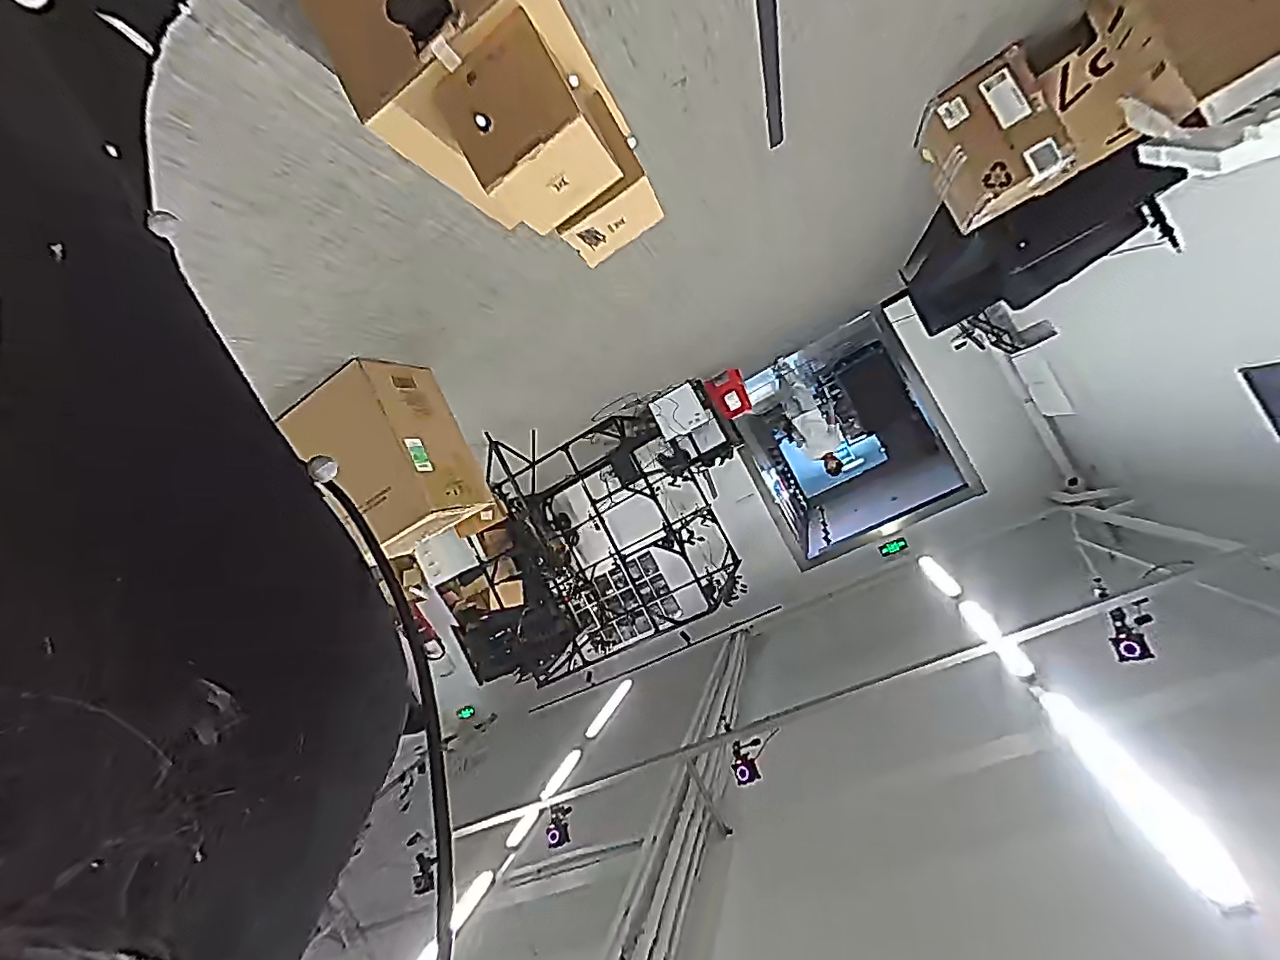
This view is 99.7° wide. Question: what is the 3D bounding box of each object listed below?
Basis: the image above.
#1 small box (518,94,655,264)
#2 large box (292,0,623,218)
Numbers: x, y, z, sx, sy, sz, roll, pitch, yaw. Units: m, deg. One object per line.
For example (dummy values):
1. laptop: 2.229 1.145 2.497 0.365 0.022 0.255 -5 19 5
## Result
1. small box: -0.099 -0.537 0.983 0.179 0.176 0.168 -30 176 12
2. large box: -0.285 -0.721 0.892 0.320 0.320 0.408 -28 178 17
